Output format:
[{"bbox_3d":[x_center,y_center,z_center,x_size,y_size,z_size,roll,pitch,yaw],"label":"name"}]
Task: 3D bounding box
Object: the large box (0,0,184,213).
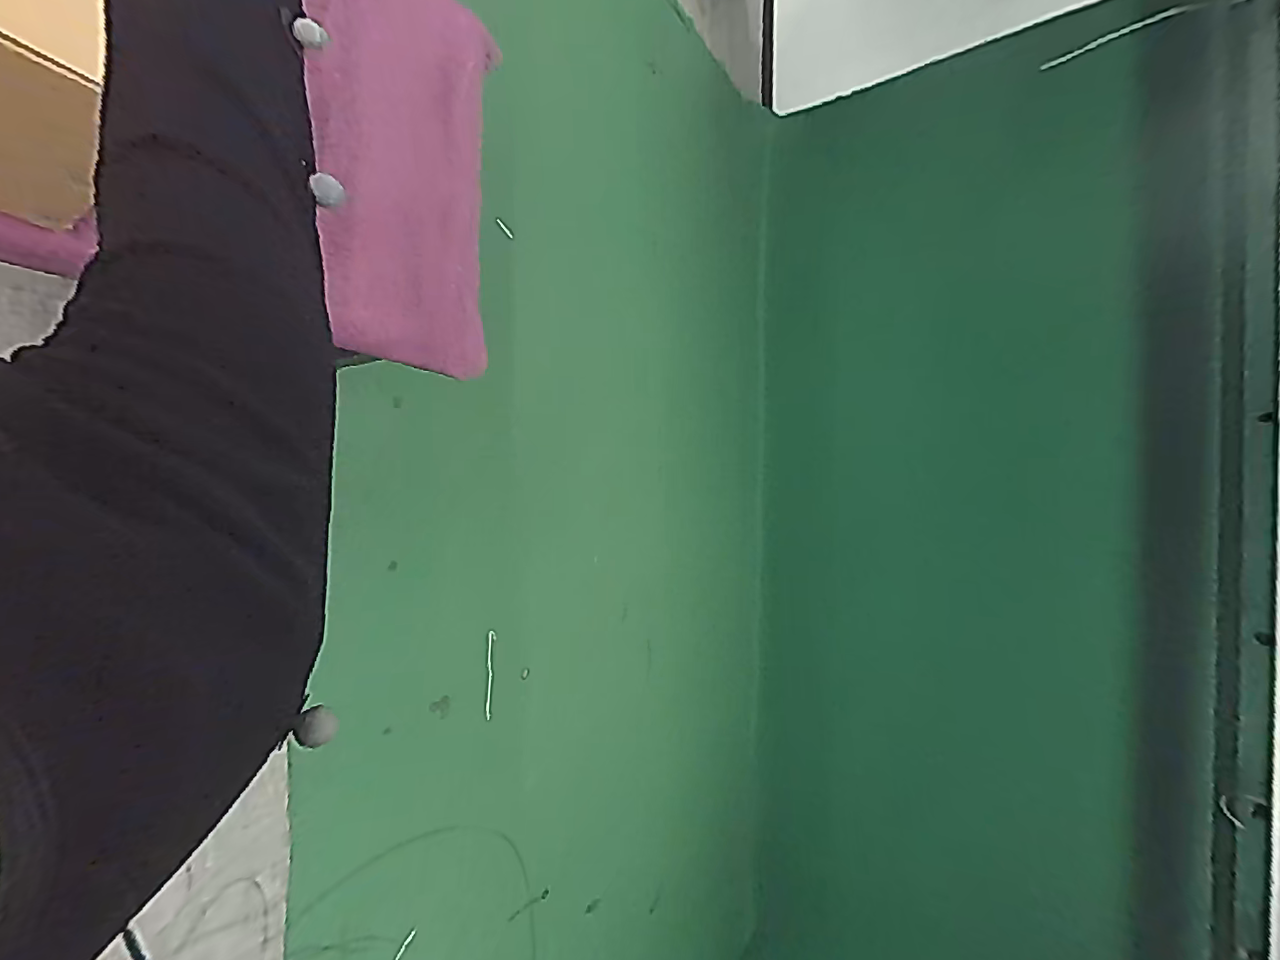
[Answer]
[{"bbox_3d":[-0.546,-0.478,0.366,0.320,0.320,0.408,9,84,-56],"label":"large box"}]
